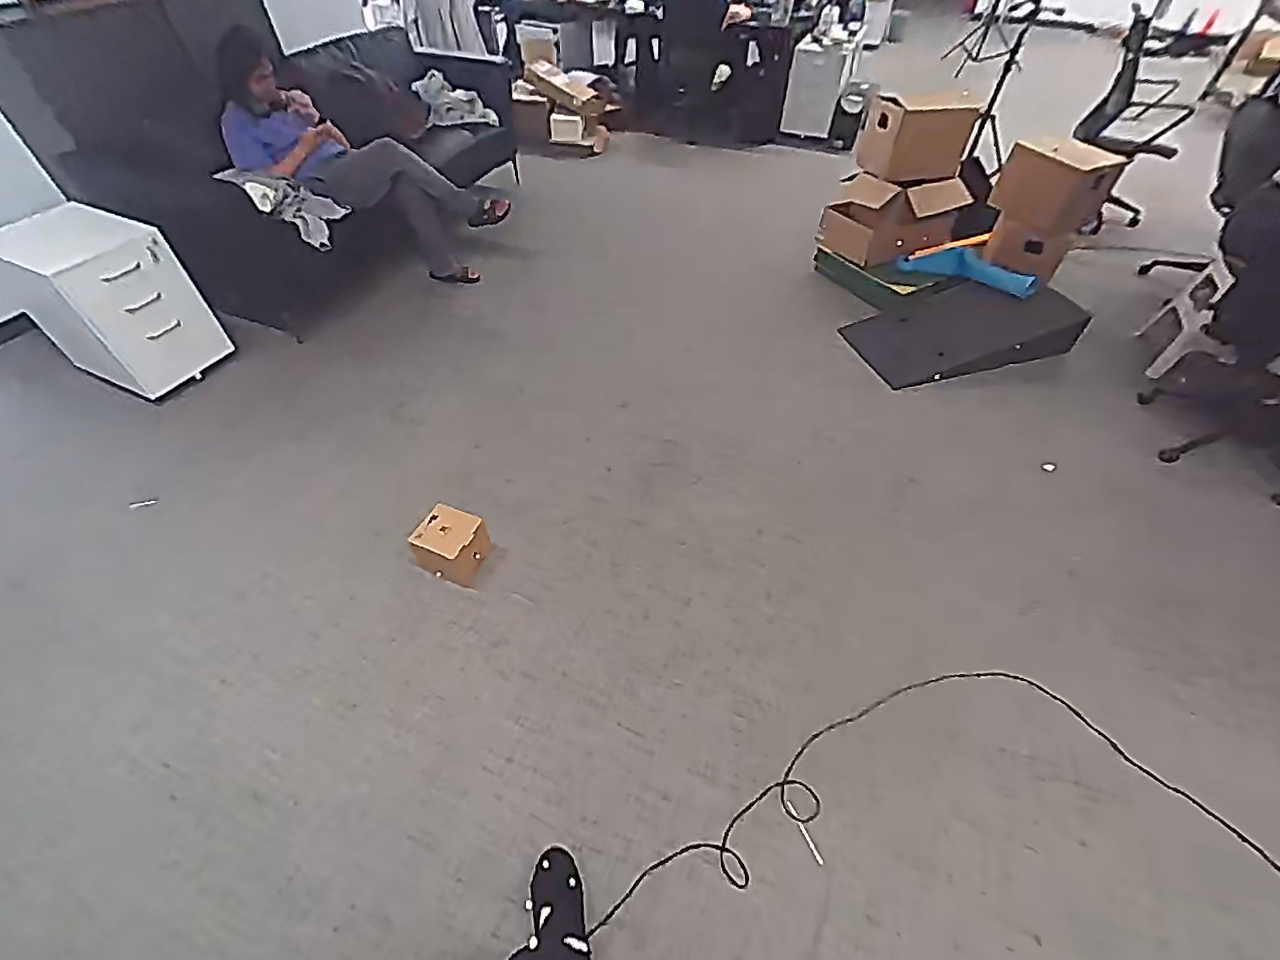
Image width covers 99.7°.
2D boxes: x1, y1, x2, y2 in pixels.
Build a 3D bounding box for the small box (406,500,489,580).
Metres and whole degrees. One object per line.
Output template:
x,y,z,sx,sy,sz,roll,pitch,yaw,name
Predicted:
-0.615,0.200,1.757,0.179,0.176,0.168,19,51,14,small box
